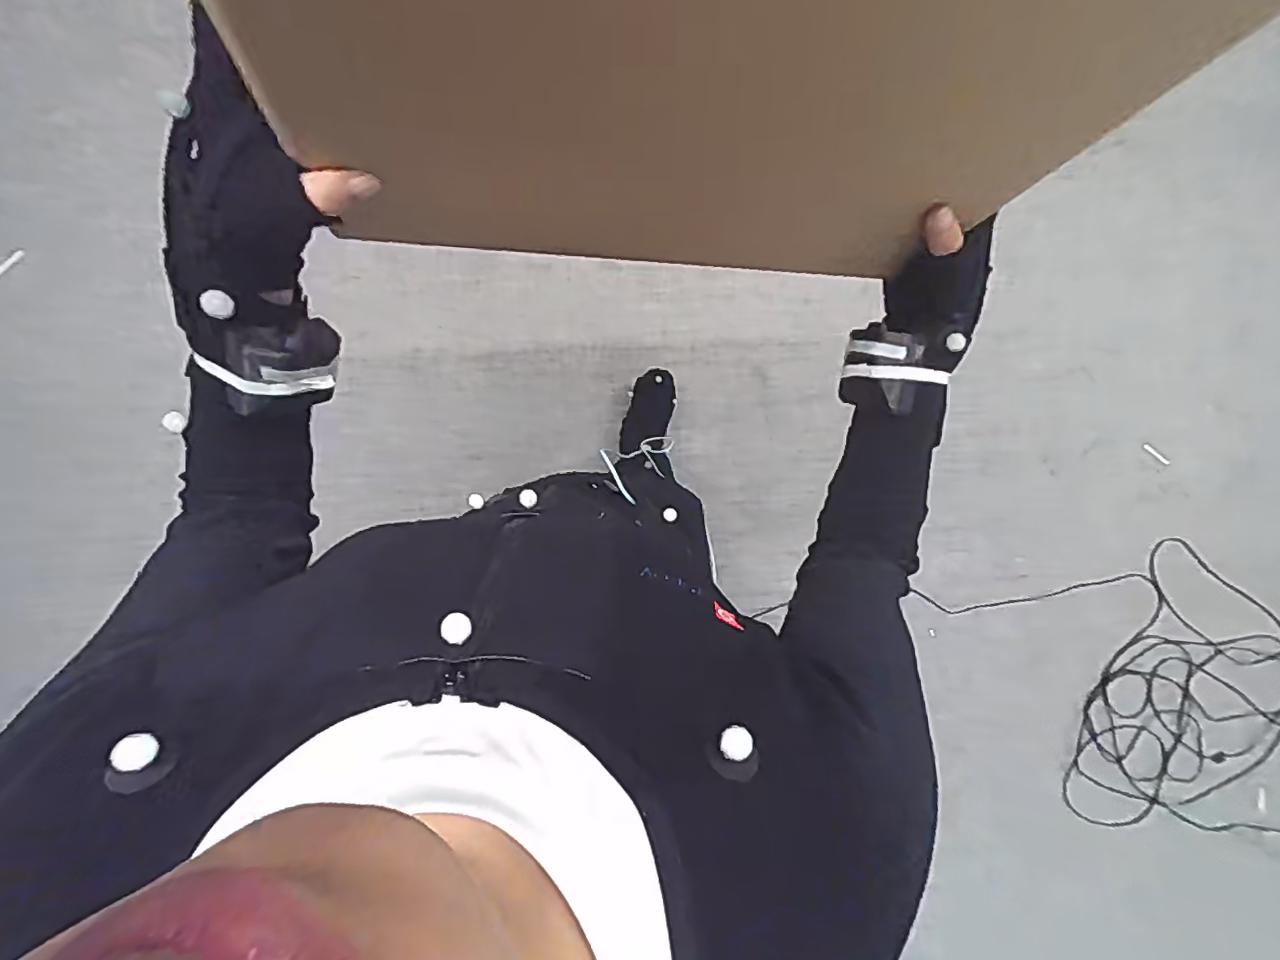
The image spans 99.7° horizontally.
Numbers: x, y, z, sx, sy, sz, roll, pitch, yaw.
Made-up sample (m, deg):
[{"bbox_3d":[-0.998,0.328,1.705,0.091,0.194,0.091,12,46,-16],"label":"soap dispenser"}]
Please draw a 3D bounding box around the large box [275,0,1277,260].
[{"bbox_3d":[0.049,-0.327,0.246,0.408,0.320,0.320,-3,85,-17],"label":"large box"}]
